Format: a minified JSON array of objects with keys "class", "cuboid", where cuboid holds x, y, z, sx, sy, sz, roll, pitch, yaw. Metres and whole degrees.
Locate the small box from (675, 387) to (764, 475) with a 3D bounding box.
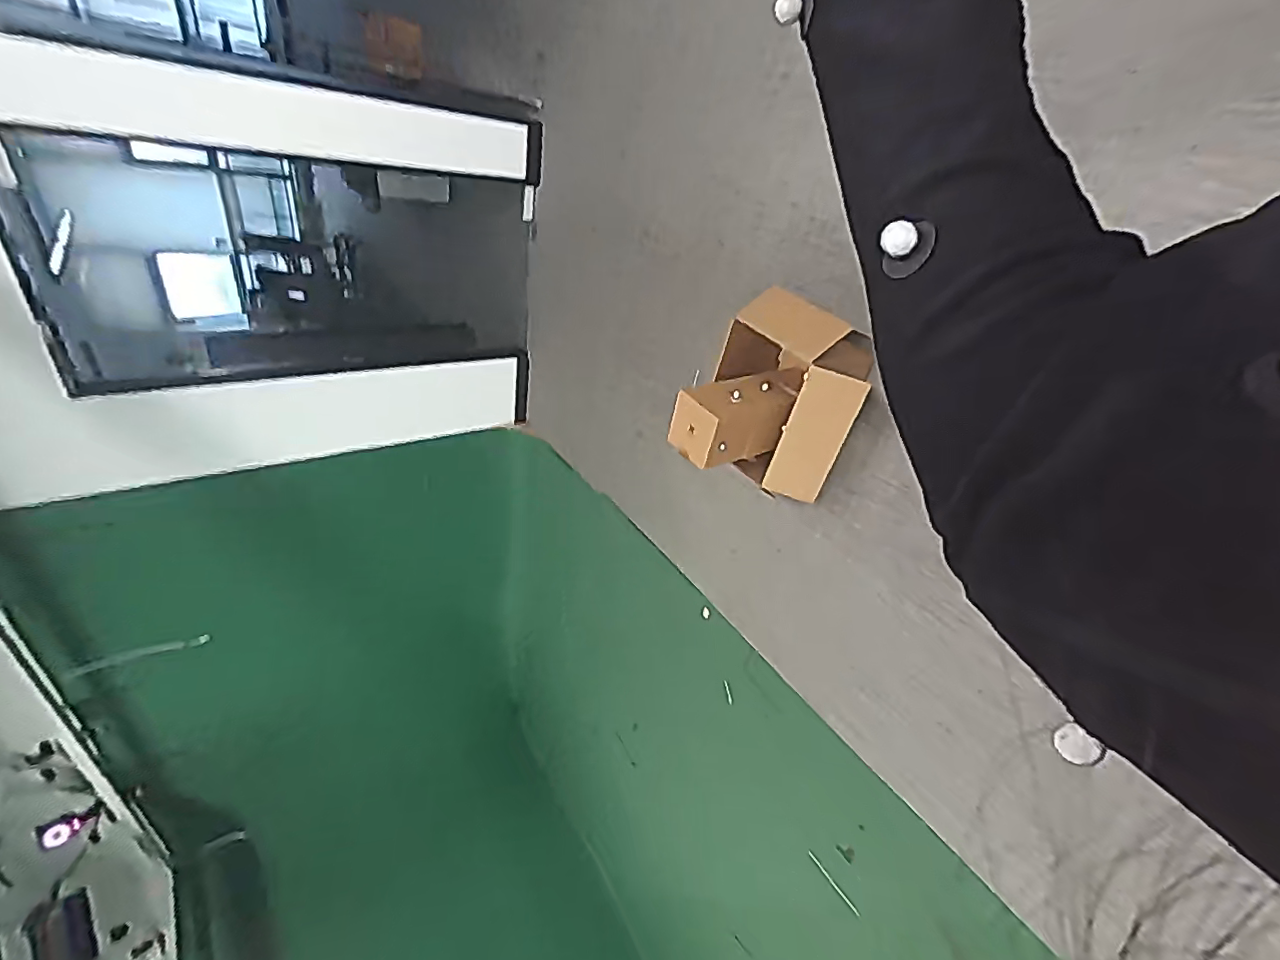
[{"class":"small box","cuboid":[0.227,-0.145,1.540,0.168,0.176,0.179,44,137,35]}]
